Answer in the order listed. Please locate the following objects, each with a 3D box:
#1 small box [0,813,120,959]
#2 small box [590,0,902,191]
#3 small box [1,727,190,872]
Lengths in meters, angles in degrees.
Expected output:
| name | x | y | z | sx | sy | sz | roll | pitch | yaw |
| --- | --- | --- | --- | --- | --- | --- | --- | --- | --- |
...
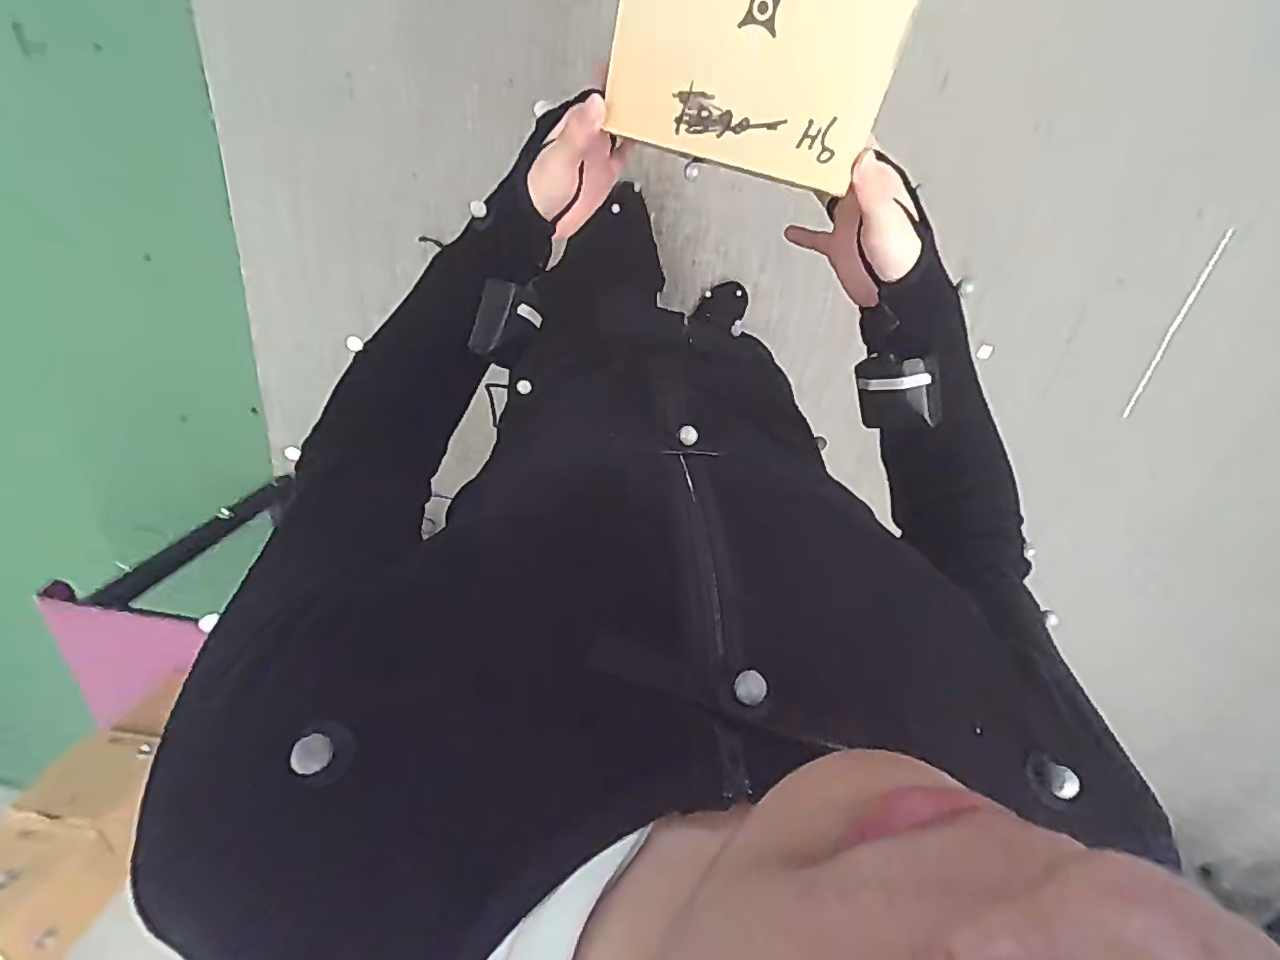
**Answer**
| name | x | y | z | sx | sy | sz | roll | pitch | yaw |
| --- | --- | --- | --- | --- | --- | --- | --- | --- | --- |
| small box | -1.041 | 0.689 | 0.900 | 0.168 | 0.176 | 0.179 | 8 | 119 | 1 |
| small box | 0.073 | -0.317 | 0.374 | 0.168 | 0.176 | 0.179 | 15 | 120 | -1 |
| small box | -1.025 | 0.607 | 1.039 | 0.168 | 0.176 | 0.179 | 9 | 118 | 0 |
